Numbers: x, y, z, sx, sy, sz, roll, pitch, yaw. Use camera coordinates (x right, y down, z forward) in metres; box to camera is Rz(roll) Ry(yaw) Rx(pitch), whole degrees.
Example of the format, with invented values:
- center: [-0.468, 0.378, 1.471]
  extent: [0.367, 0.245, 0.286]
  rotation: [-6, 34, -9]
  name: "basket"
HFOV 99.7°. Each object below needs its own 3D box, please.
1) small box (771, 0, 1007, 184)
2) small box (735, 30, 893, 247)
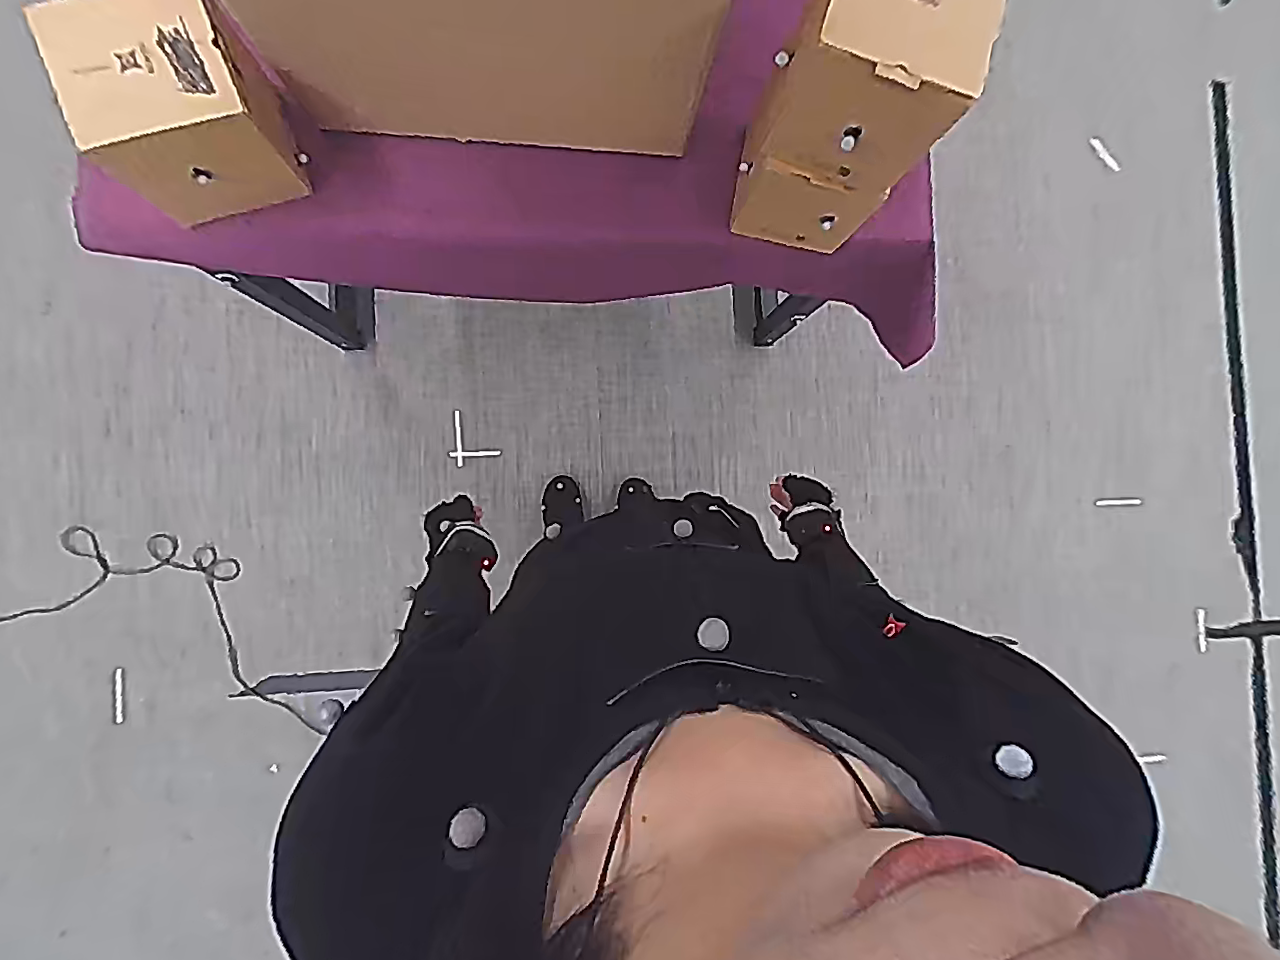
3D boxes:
- center: [0.258, -0.462, 0.584]
  extent: [0.168, 0.176, 0.179]
  rotation: [17, 88, -5]
  name: "small box"
- center: [0.239, -0.452, 0.747]
  extent: [0.168, 0.176, 0.179]
  rotation: [10, 86, -6]
  name: "small box"
